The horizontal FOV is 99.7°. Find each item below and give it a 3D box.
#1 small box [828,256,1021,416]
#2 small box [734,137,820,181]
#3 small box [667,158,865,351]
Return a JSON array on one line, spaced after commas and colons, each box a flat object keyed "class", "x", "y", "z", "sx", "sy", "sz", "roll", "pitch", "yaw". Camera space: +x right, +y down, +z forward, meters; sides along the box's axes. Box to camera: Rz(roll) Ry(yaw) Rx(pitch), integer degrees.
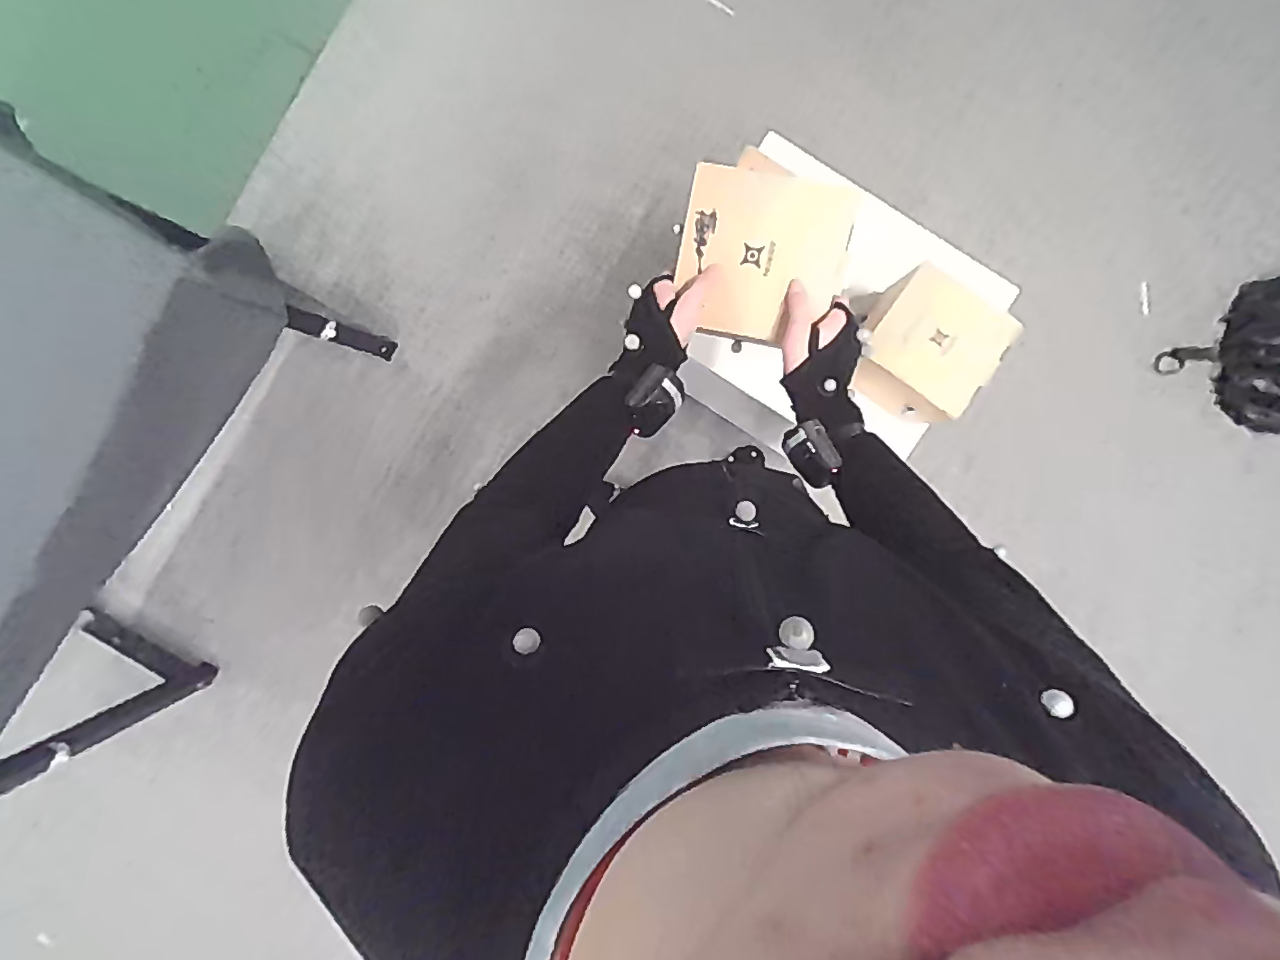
[{"class": "small box", "x": 0.436, "y": -0.215, "z": 0.861, "sx": 0.179, "sy": 0.176, "sz": 0.168, "roll": 34, "pitch": 93, "yaw": 0}, {"class": "small box", "x": 0.185, "y": -0.378, "z": 0.848, "sx": 0.179, "sy": 0.176, "sz": 0.168, "roll": 32, "pitch": 95, "yaw": -4}, {"class": "small box", "x": 0.136, "y": -0.256, "z": 0.648, "sx": 0.179, "sy": 0.176, "sz": 0.168, "roll": 12, "pitch": 105, "yaw": 3}]
